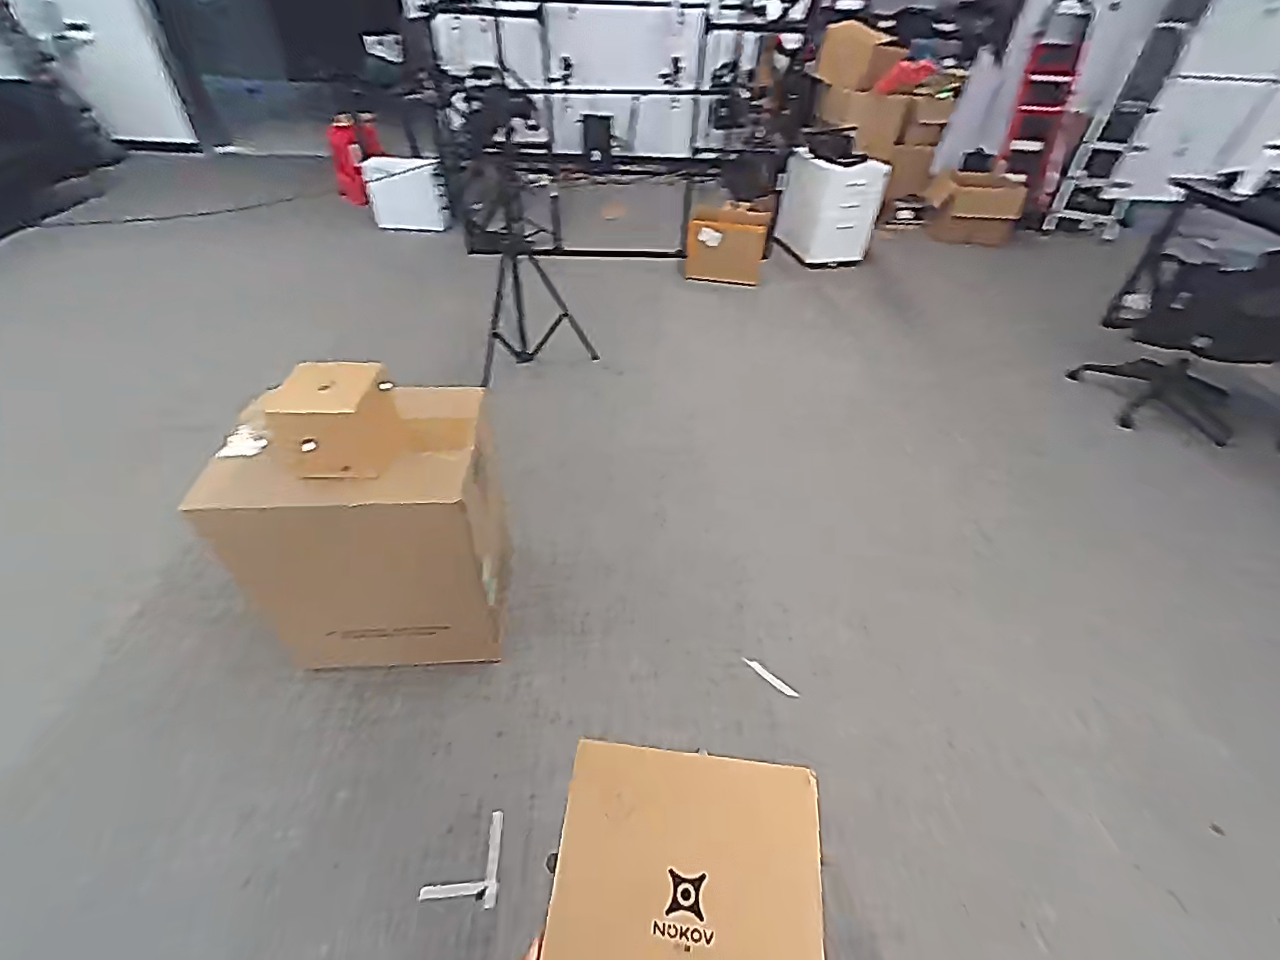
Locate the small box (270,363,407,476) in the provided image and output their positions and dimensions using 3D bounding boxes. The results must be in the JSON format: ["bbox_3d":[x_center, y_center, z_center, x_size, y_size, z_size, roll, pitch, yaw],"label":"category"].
[{"bbox_3d":[-0.593,-0.120,1.094,0.168,0.176,0.179,0,42,-3],"label":"small box"}]

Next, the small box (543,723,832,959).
[{"bbox_3d":[0.036,0.295,0.389,0.168,0.176,0.179,3,56,8],"label":"small box"}]
